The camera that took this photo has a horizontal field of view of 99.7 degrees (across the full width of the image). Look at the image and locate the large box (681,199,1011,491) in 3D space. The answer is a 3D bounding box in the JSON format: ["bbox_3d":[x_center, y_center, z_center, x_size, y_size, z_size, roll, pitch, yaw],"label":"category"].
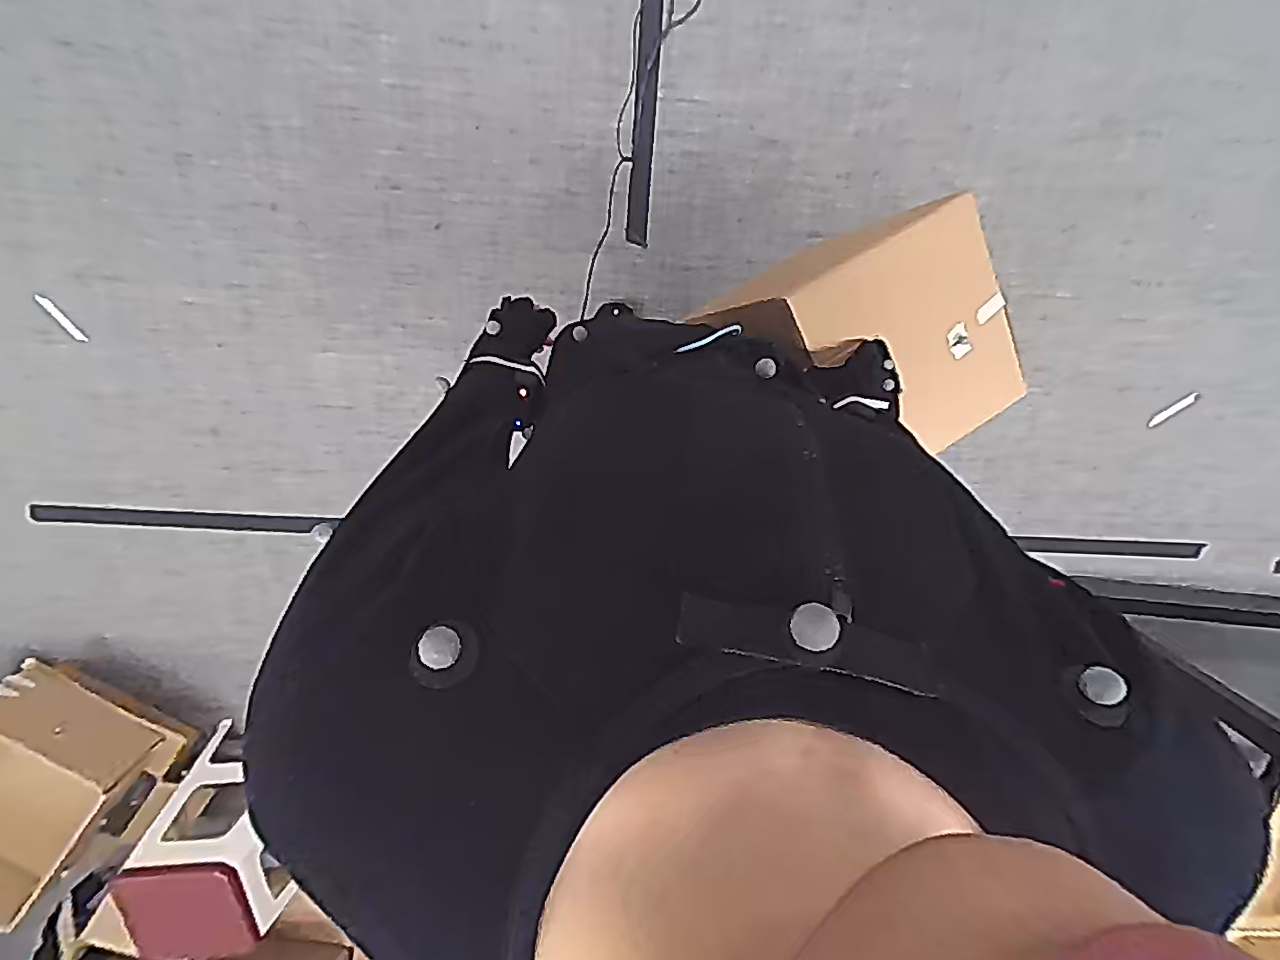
[{"bbox_3d":[0.326,-0.223,0.946,0.320,0.408,0.320,-31,108,-7],"label":"large box"}]
